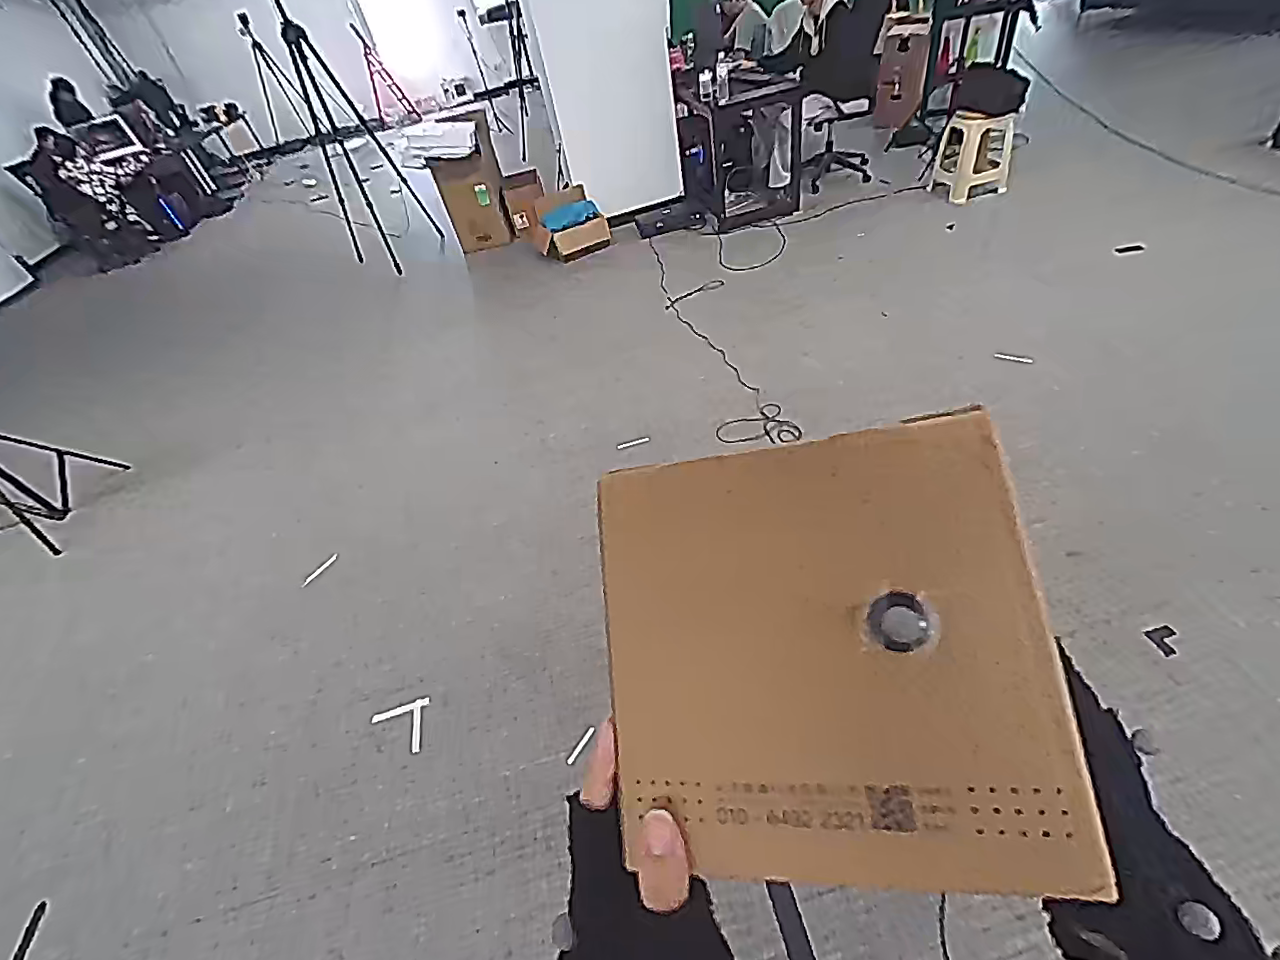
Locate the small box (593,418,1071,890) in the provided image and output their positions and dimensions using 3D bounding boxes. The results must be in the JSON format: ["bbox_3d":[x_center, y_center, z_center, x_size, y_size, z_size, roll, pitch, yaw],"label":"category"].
[{"bbox_3d":[0.092,0.084,0.292,0.168,0.179,0.176,-11,76,21],"label":"small box"}]
